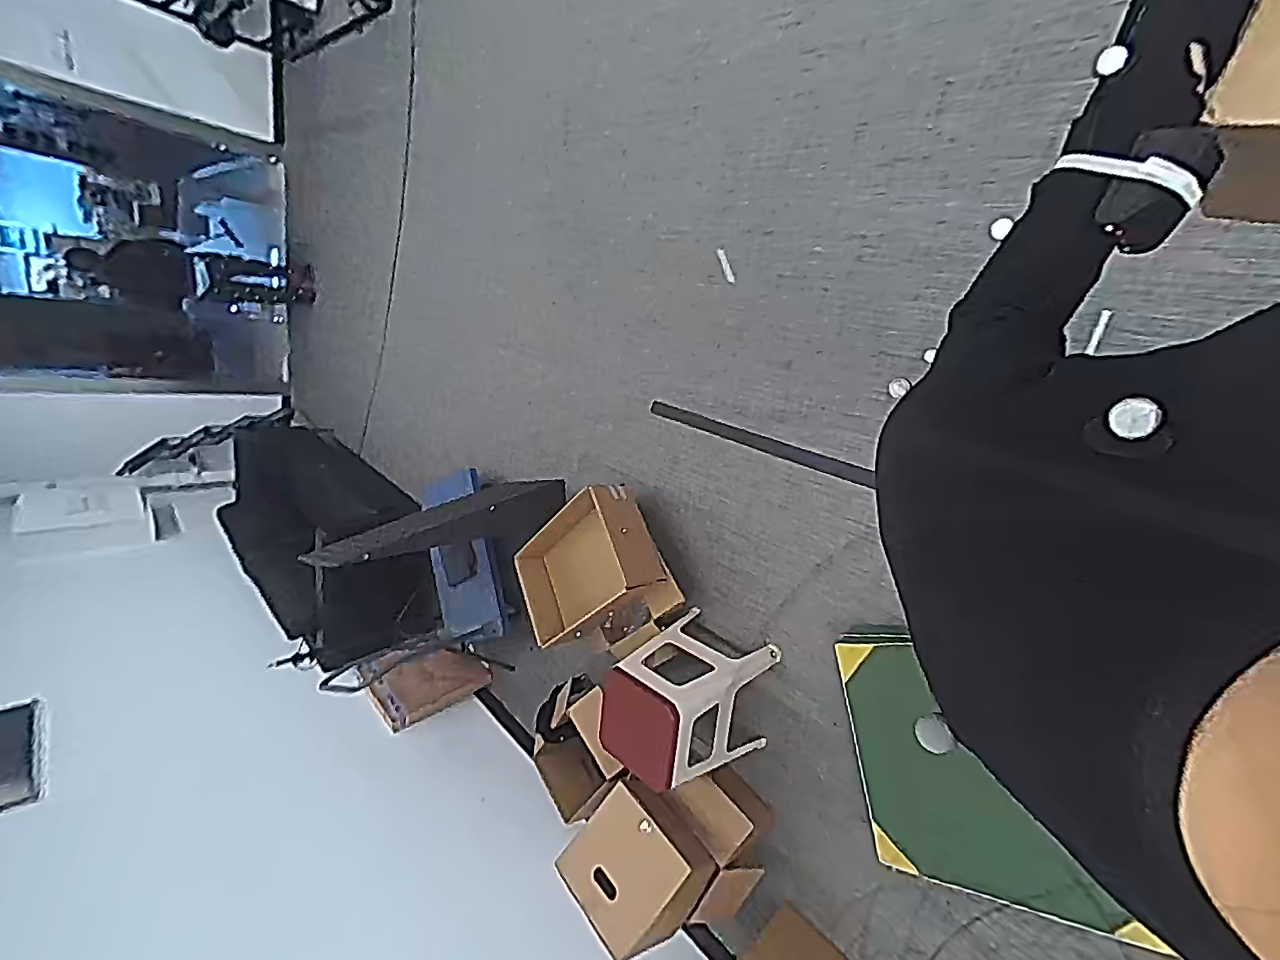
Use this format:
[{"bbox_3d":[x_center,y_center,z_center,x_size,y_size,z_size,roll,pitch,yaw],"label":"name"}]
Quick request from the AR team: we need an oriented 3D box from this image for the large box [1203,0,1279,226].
[{"bbox_3d":[0.660,-0.321,0.302,0.408,0.320,0.320,33,120,38],"label":"large box"}]
